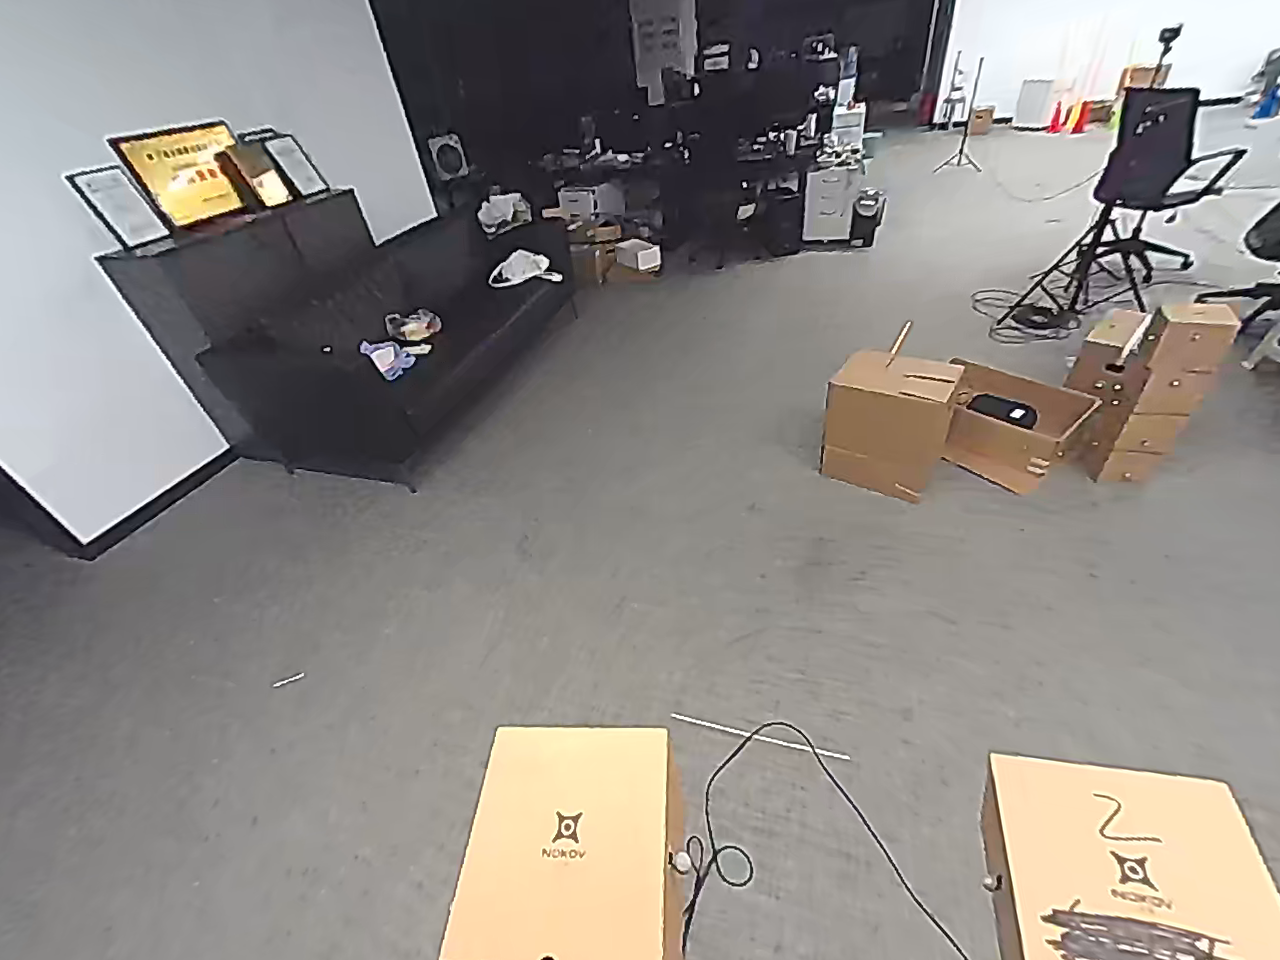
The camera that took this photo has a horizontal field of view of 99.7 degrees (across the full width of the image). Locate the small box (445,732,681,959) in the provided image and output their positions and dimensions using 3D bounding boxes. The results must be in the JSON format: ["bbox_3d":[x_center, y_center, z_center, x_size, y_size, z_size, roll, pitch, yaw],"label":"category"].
[{"bbox_3d":[-0.051,0.359,0.505,0.168,0.176,0.179,-3,42,7],"label":"small box"}]
